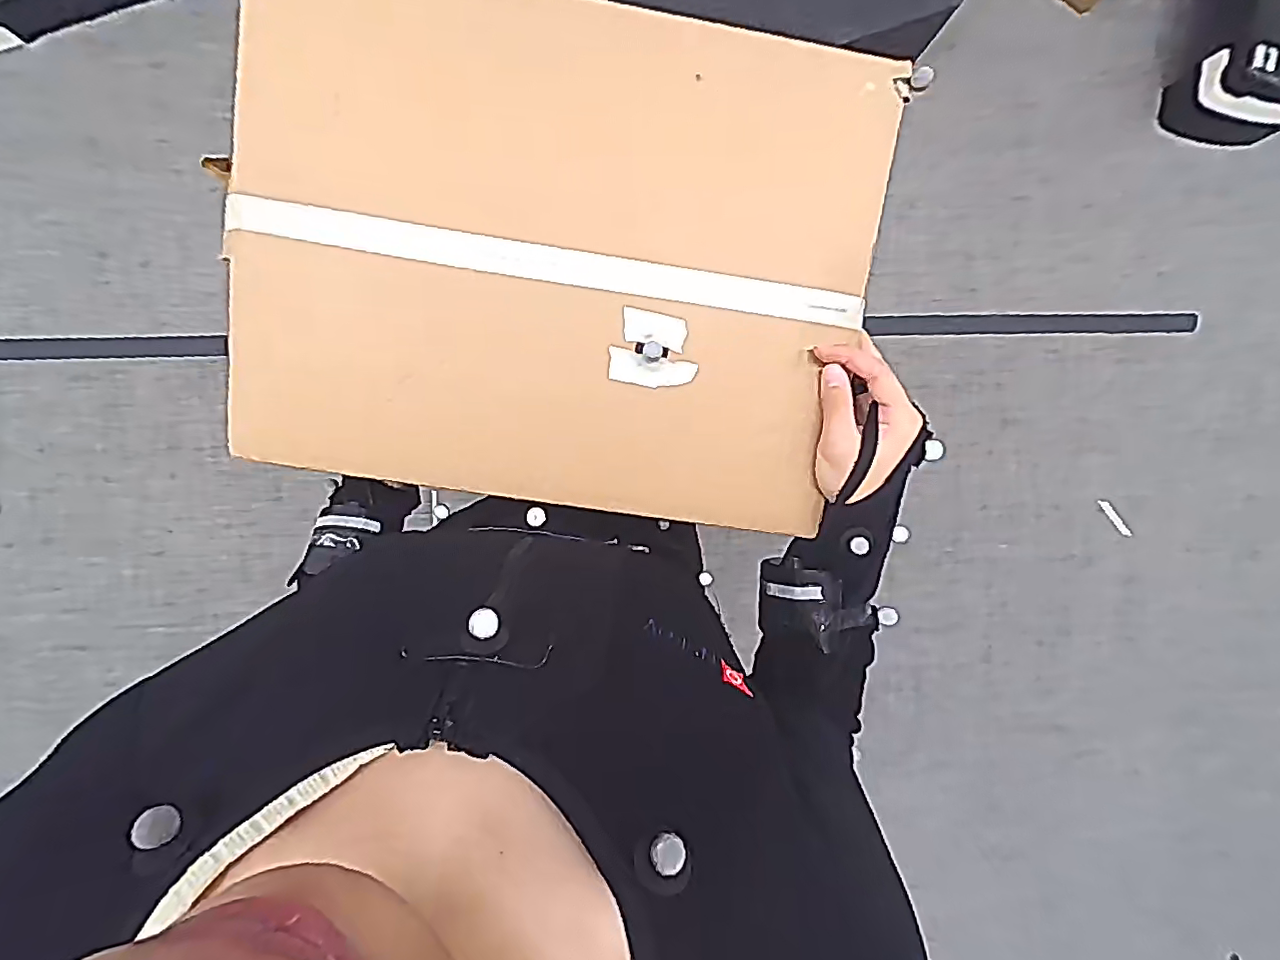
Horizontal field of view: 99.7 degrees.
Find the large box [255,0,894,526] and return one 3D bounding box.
[{"bbox_3d":[-0.057,-0.158,0.508,0.408,0.320,0.320,7,99,-5],"label":"large box"}]
